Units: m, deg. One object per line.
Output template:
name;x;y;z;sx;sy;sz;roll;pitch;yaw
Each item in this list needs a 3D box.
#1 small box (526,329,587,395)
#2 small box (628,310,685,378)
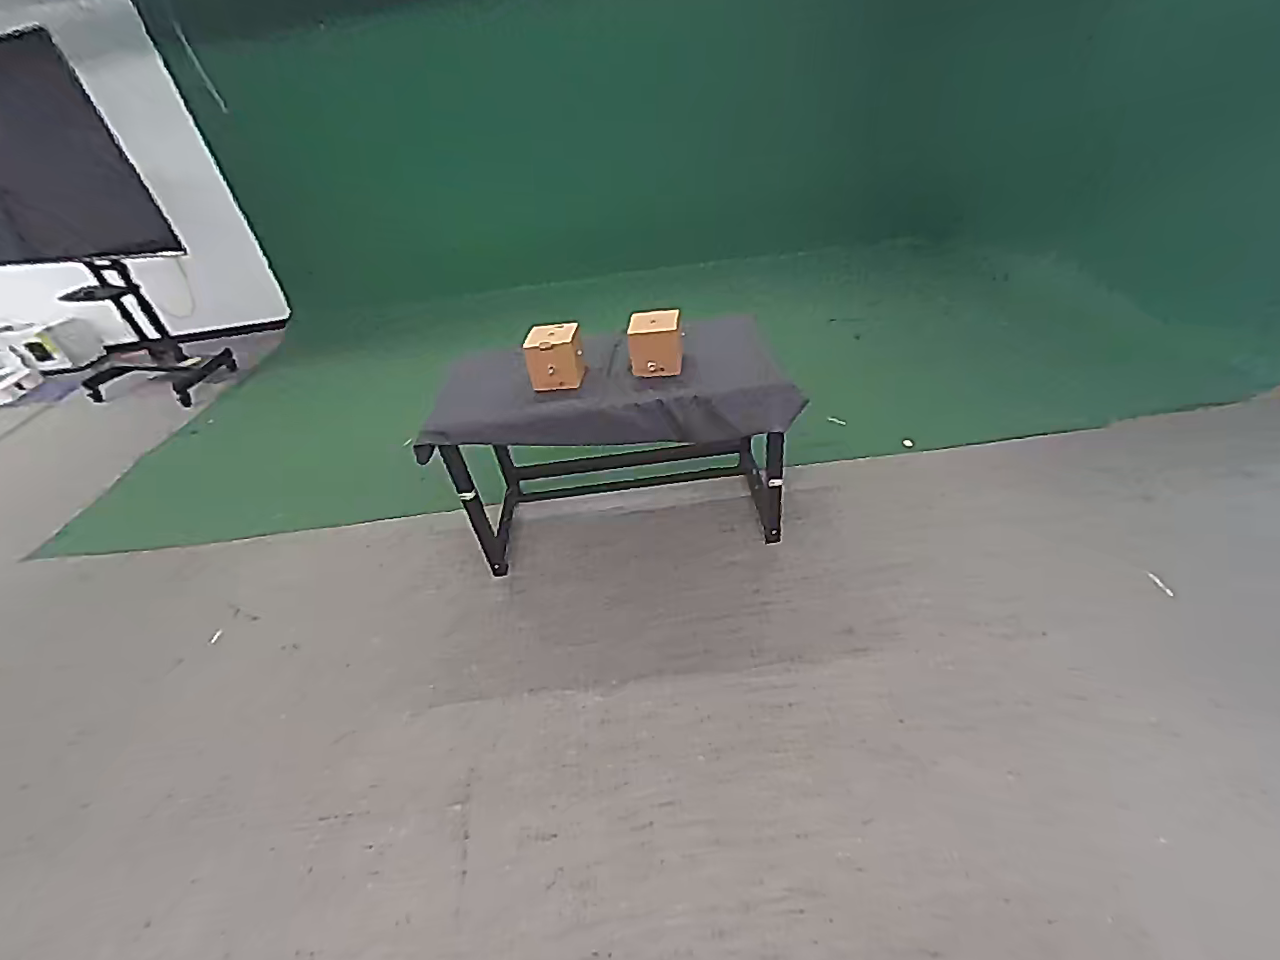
small box;-0.286;-0.410;1.902;0.168;0.176;0.179;-6;37;6
small box;0.062;-0.471;1.877;0.168;0.176;0.179;-3;38;12
